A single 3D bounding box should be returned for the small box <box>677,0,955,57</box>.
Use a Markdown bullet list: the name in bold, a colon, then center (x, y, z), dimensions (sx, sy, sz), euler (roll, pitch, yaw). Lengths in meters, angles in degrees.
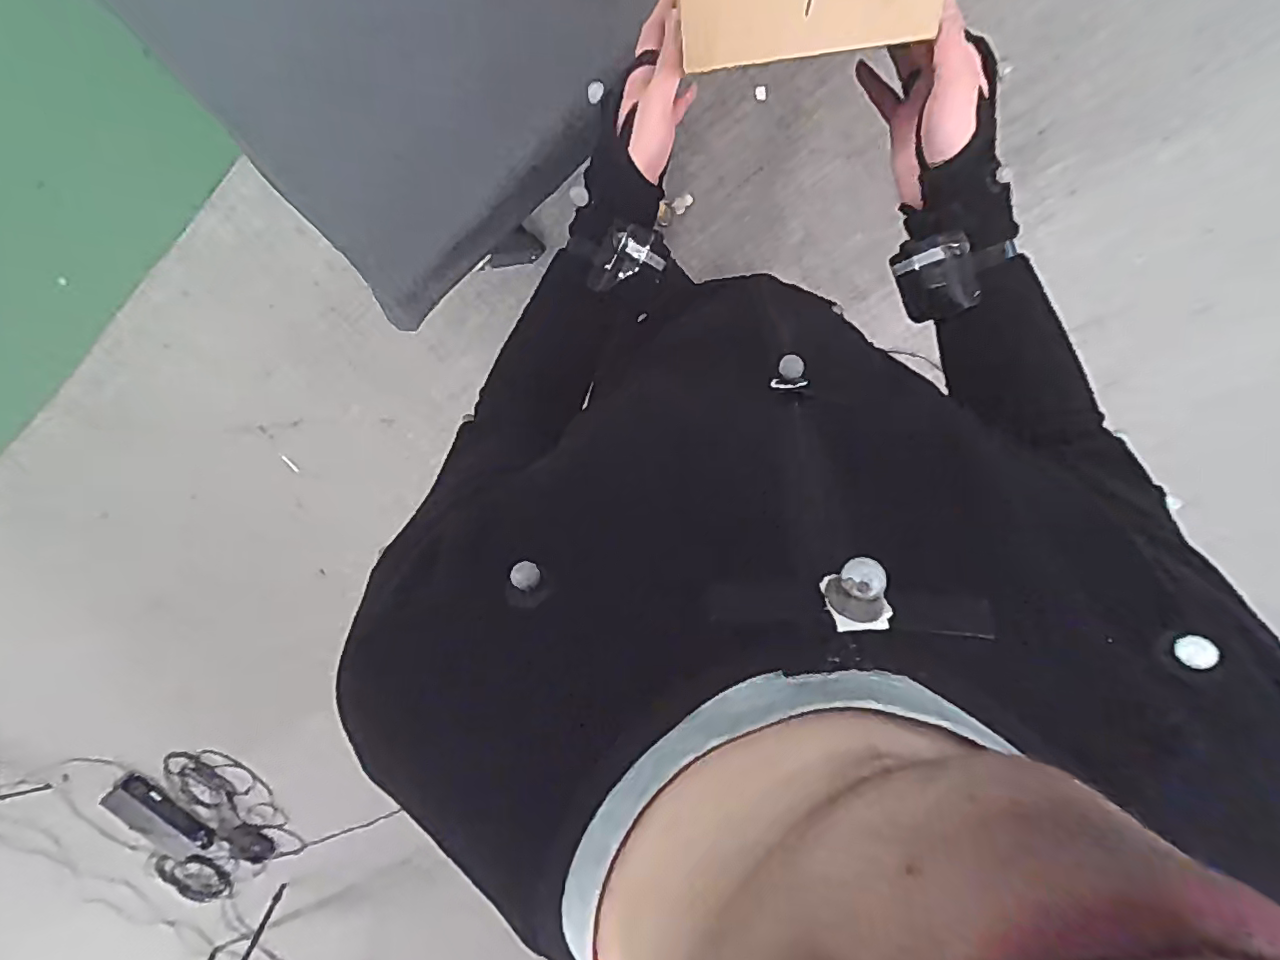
- **small box**: center (0.101, -0.392, 0.332), dimensions (0.168, 0.176, 0.179), euler (-4, 137, 5)
